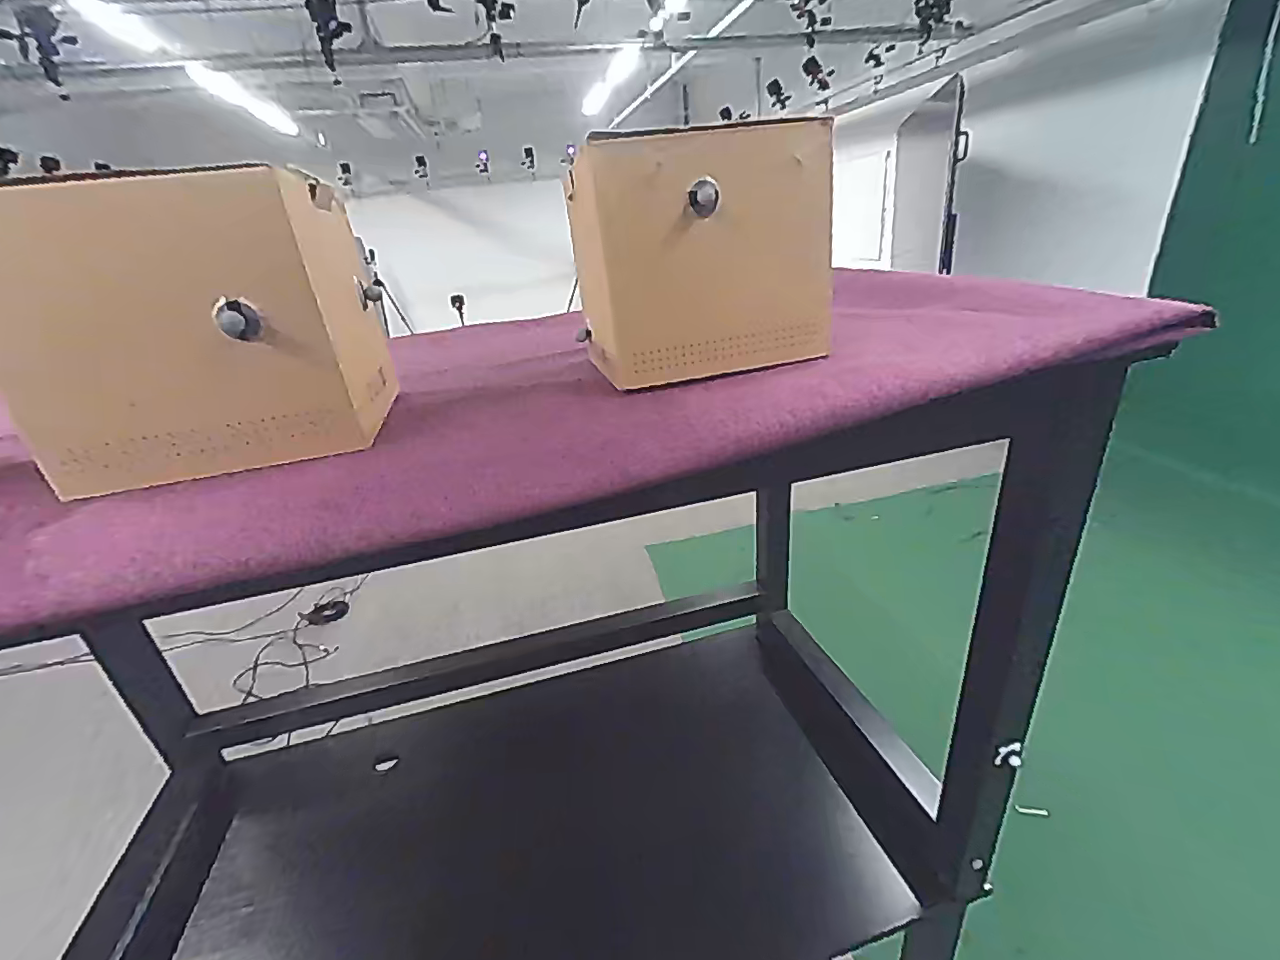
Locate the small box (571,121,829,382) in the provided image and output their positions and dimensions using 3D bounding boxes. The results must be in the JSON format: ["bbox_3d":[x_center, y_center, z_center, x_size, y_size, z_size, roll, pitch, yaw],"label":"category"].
[{"bbox_3d":[0.046,-0.187,0.471,0.179,0.176,0.168,-10,22,-10],"label":"small box"}]

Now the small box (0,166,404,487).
[{"bbox_3d":[-0.284,-0.112,0.384,0.179,0.176,0.168,-12,25,-12],"label":"small box"}]
